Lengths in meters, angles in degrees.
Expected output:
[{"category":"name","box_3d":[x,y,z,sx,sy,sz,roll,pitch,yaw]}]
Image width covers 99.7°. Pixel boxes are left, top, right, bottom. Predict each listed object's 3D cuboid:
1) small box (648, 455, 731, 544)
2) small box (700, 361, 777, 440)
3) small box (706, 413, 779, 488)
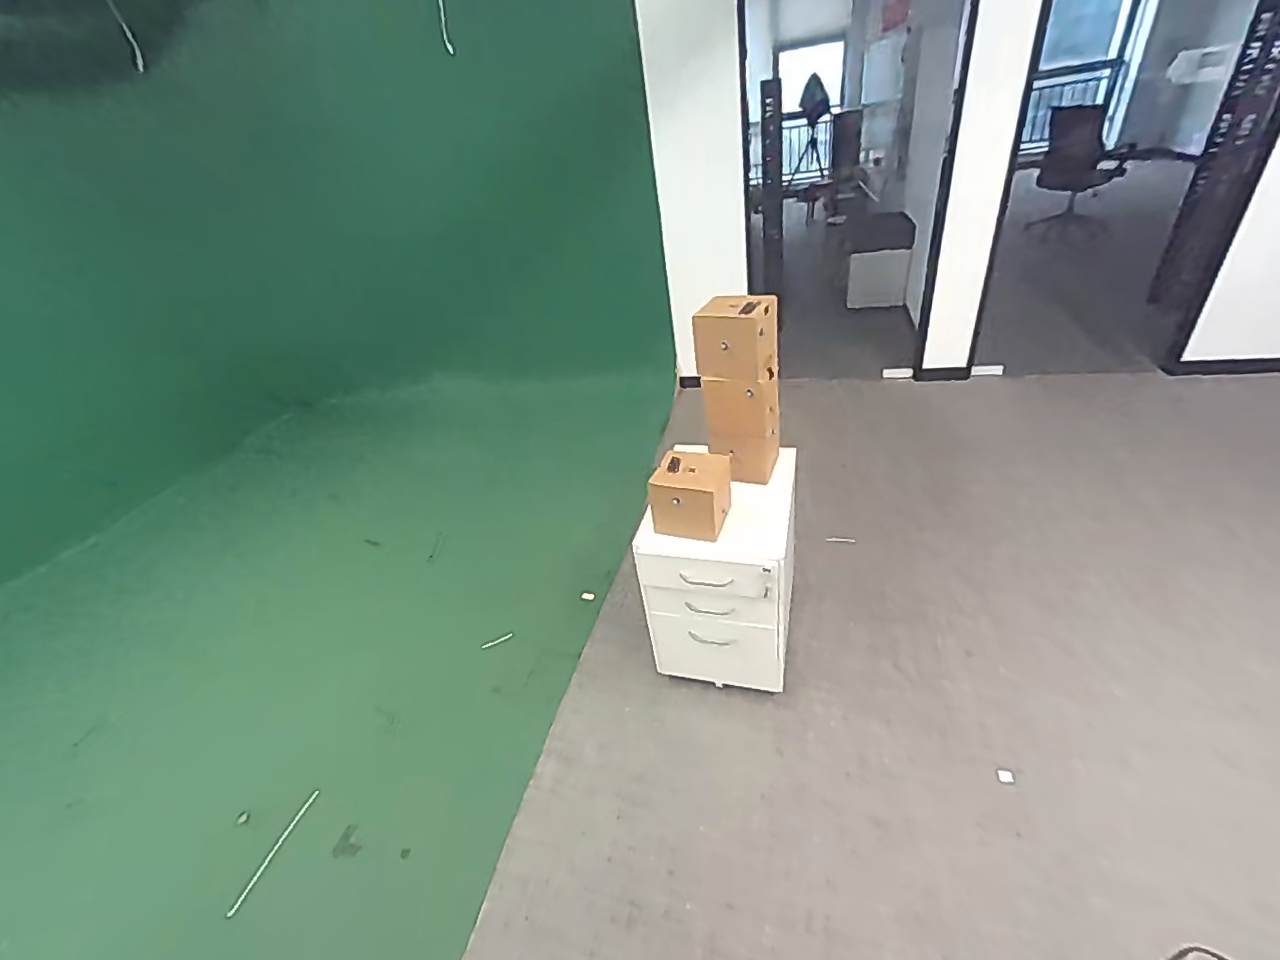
[{"category":"small box","box_3d":[0.137,0.052,1.445,0.179,0.176,0.168,8,37,22]},{"category":"small box","box_3d":[0.283,-0.224,1.525,0.179,0.176,0.168,7,38,23]},{"category":"small box","box_3d":[0.311,-0.093,1.617,0.179,0.176,0.168,7,38,24]}]
